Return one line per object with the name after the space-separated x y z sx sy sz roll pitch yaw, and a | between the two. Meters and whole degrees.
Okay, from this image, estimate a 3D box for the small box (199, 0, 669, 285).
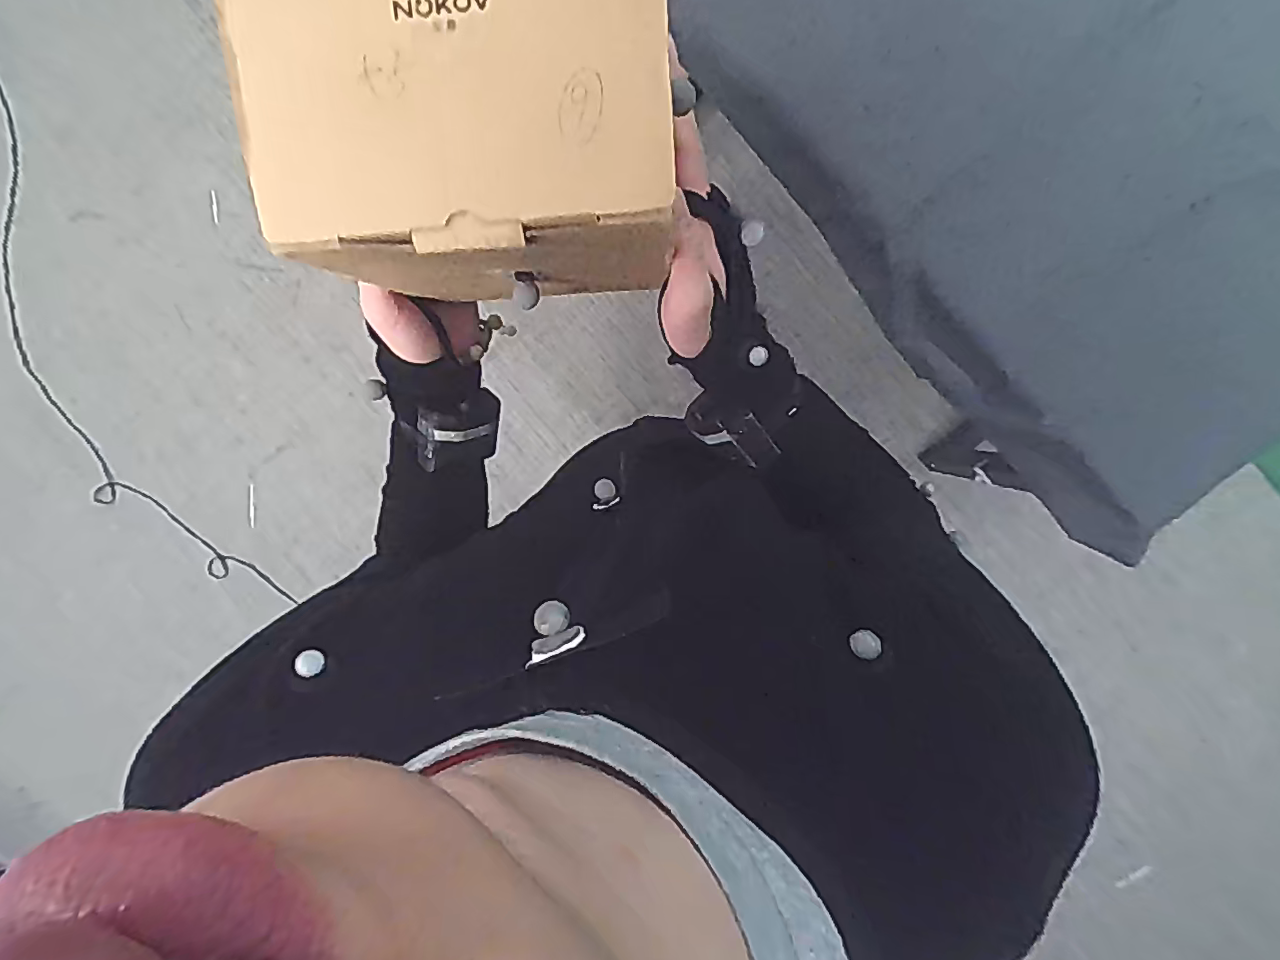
-0.070 -0.196 0.263 0.168 0.176 0.179 -3 102 1 | small box
